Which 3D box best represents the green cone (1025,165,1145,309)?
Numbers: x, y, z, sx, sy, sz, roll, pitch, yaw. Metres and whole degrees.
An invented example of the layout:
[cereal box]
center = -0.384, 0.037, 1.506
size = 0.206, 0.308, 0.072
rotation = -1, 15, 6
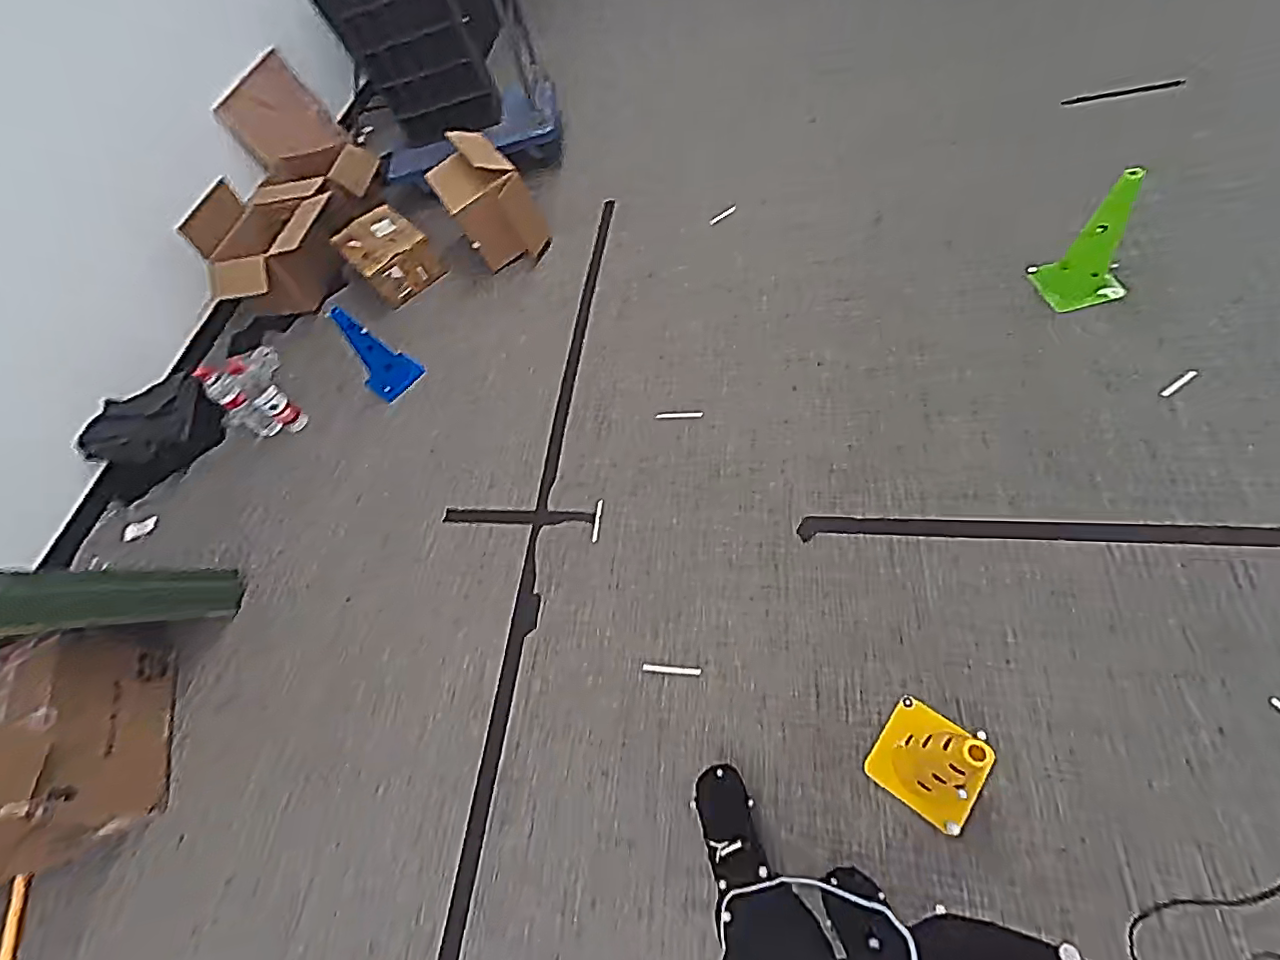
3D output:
[green cone]
center = 1.297, -0.698, 1.526
size = 0.202, 0.368, 0.200
rotation = -14, 58, 6
